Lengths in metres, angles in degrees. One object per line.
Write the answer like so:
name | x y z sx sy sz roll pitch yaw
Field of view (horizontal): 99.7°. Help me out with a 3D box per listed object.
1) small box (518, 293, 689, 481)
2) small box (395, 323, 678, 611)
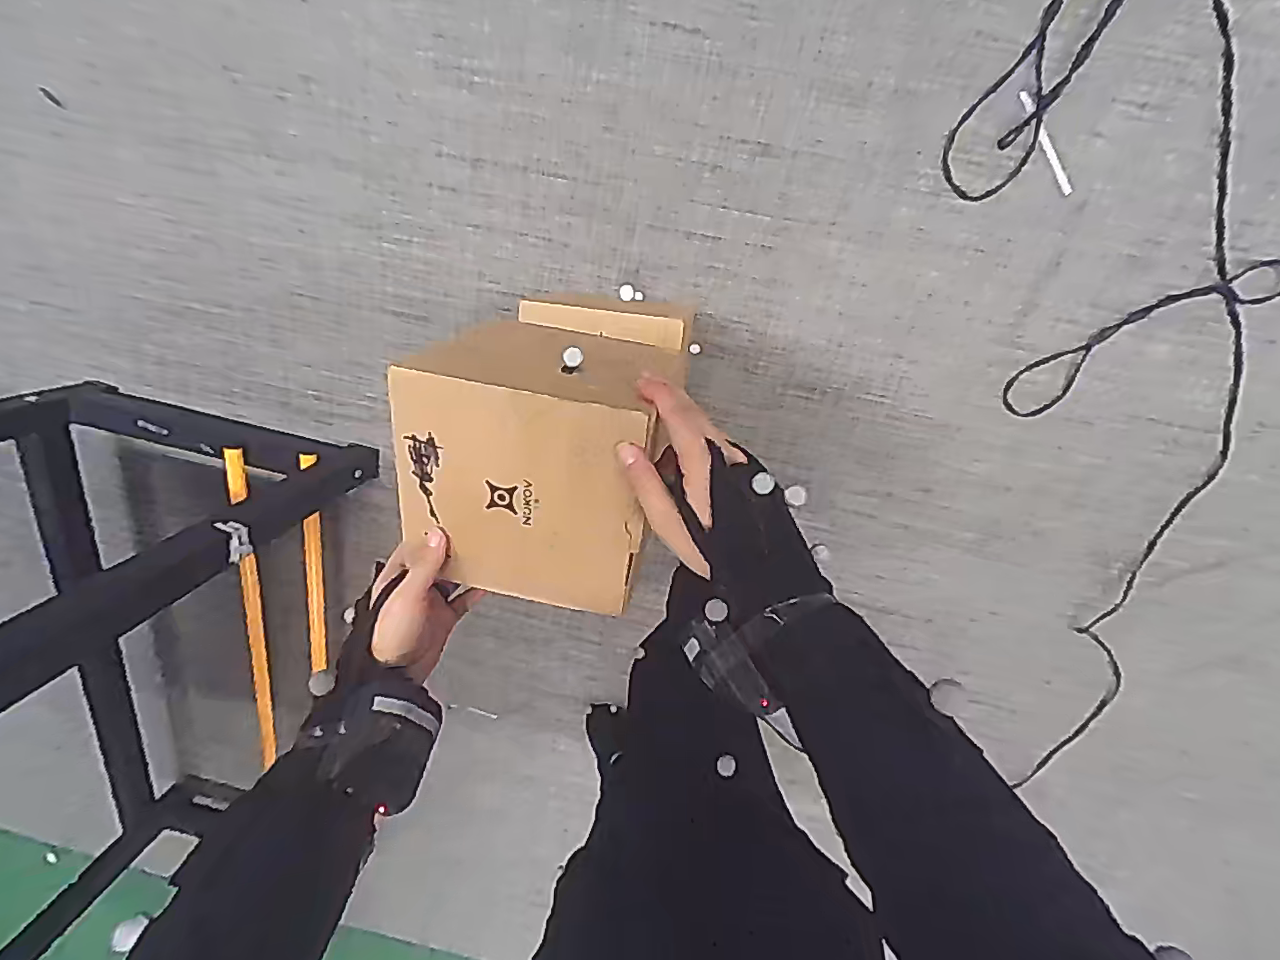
small box | -0.036 -0.114 0.627 0.168 0.176 0.179 9 112 5
small box | -0.070 -0.023 0.446 0.179 0.176 0.168 11 118 6
